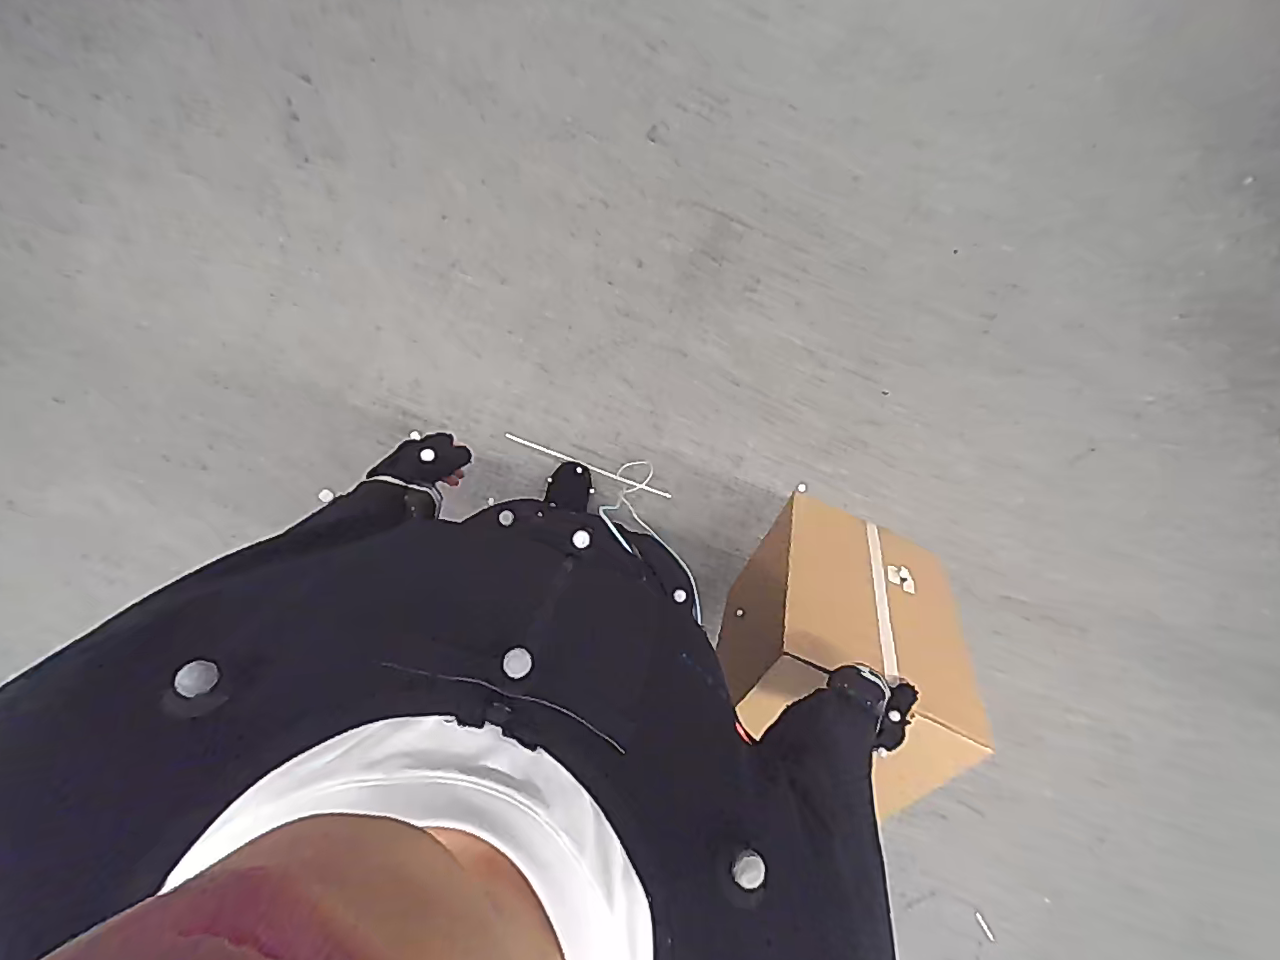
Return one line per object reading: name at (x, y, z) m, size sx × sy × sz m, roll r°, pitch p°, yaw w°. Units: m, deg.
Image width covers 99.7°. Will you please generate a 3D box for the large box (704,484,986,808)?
large box at (0.339, 0.286, 0.985) m, size 0.320 × 0.408 × 0.320 m, roll 26°, pitch 127°, yaw 1°
